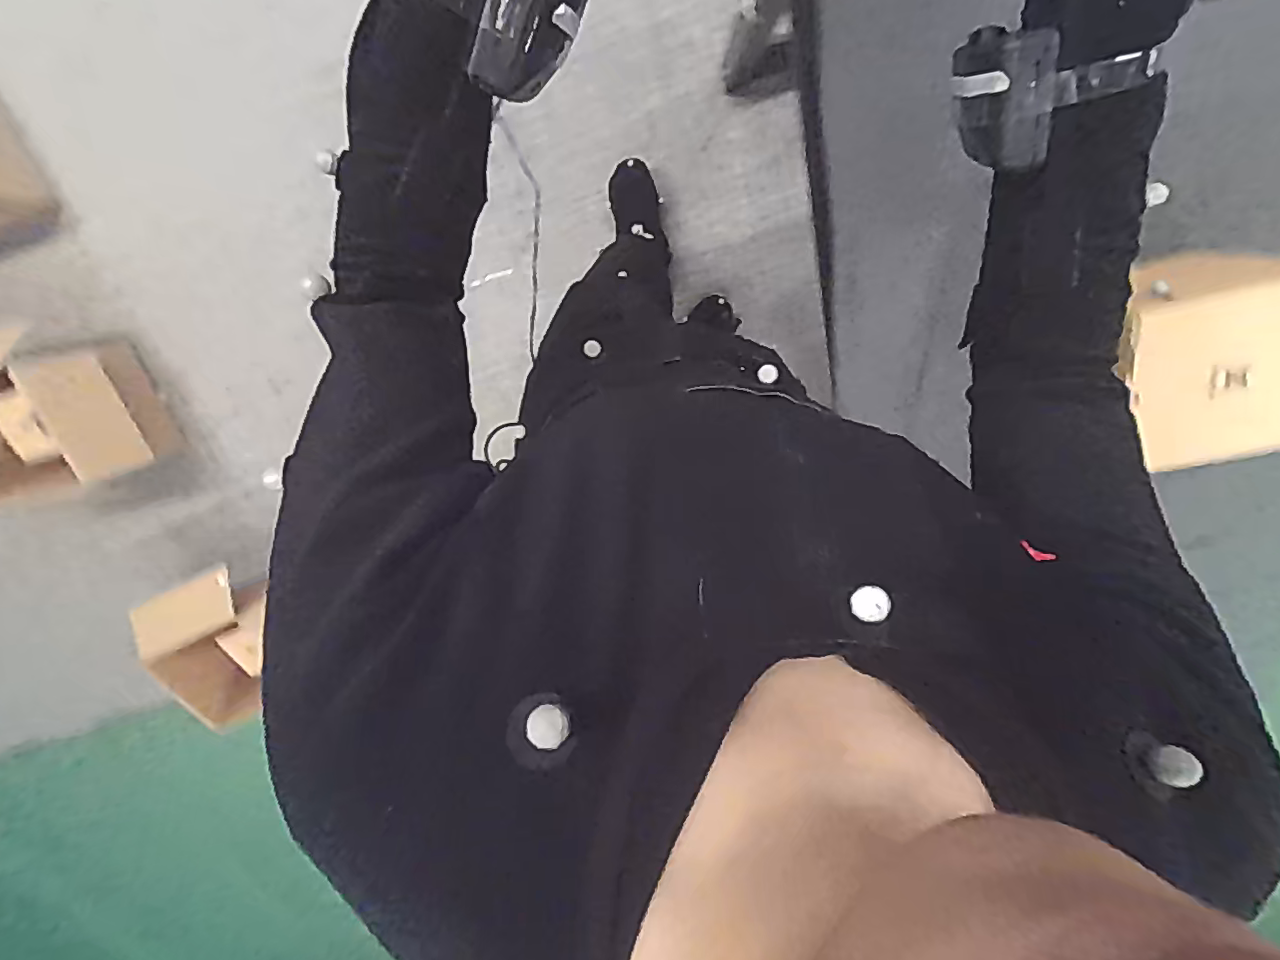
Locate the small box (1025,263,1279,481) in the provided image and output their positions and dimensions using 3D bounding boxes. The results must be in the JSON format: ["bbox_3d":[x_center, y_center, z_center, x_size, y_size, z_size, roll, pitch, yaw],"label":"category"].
[{"bbox_3d":[0.548,-0.120,0.566,0.179,0.176,0.168,-11,113,10],"label":"small box"}]
